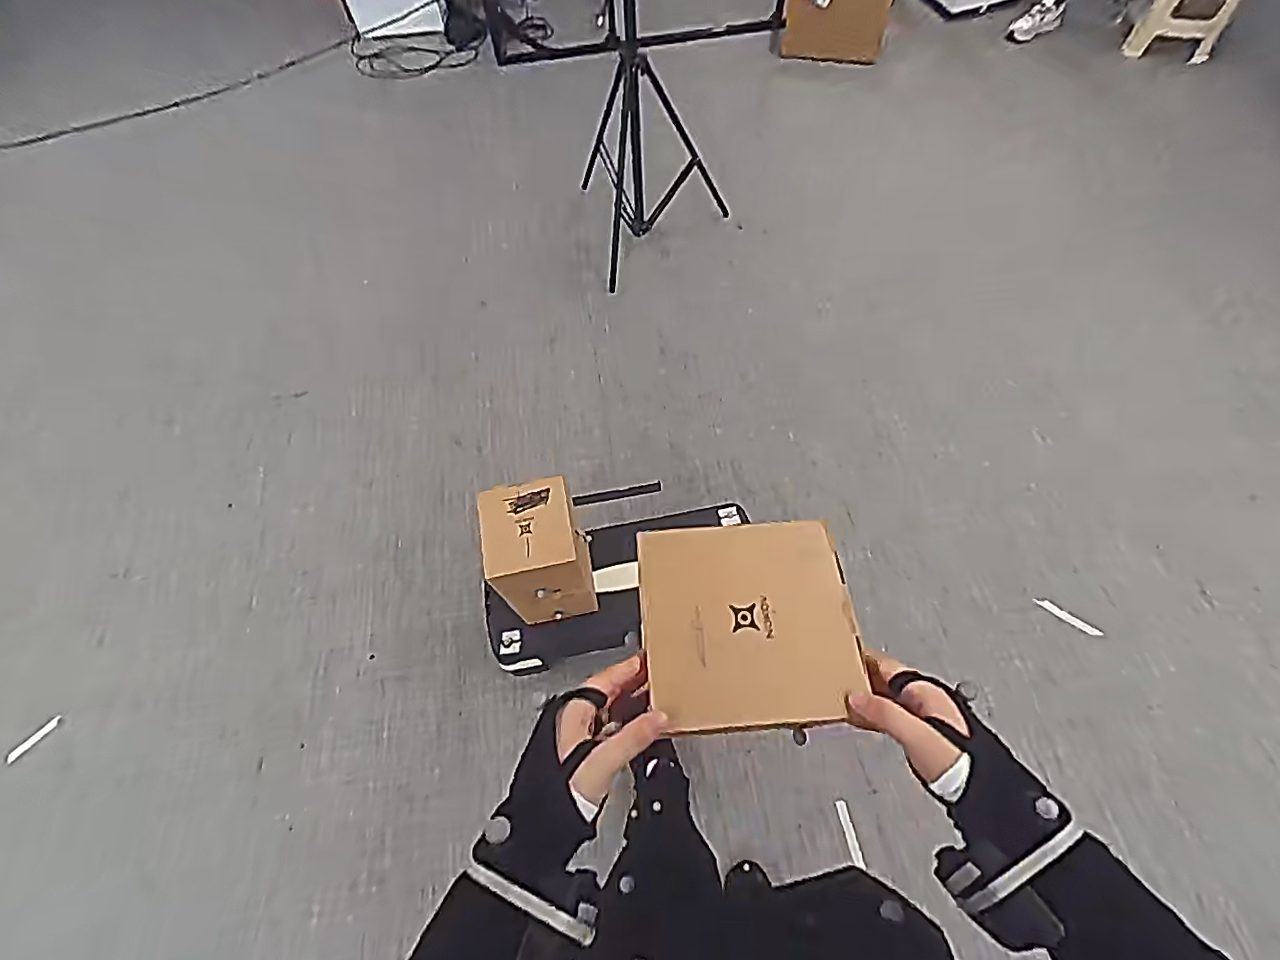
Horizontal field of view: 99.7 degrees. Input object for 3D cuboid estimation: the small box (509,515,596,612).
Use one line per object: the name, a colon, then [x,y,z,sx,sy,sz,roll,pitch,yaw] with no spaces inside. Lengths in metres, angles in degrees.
small box: [-0.193,0.201,1.198,0.168,0.176,0.179,-11,63,-3]

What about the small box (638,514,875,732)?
small box: [0.090,0.144,0.519,0.179,0.176,0.168,-5,62,-2]

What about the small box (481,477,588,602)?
small box: [-0.203,0.121,1.055,0.168,0.176,0.179,-12,63,-3]
